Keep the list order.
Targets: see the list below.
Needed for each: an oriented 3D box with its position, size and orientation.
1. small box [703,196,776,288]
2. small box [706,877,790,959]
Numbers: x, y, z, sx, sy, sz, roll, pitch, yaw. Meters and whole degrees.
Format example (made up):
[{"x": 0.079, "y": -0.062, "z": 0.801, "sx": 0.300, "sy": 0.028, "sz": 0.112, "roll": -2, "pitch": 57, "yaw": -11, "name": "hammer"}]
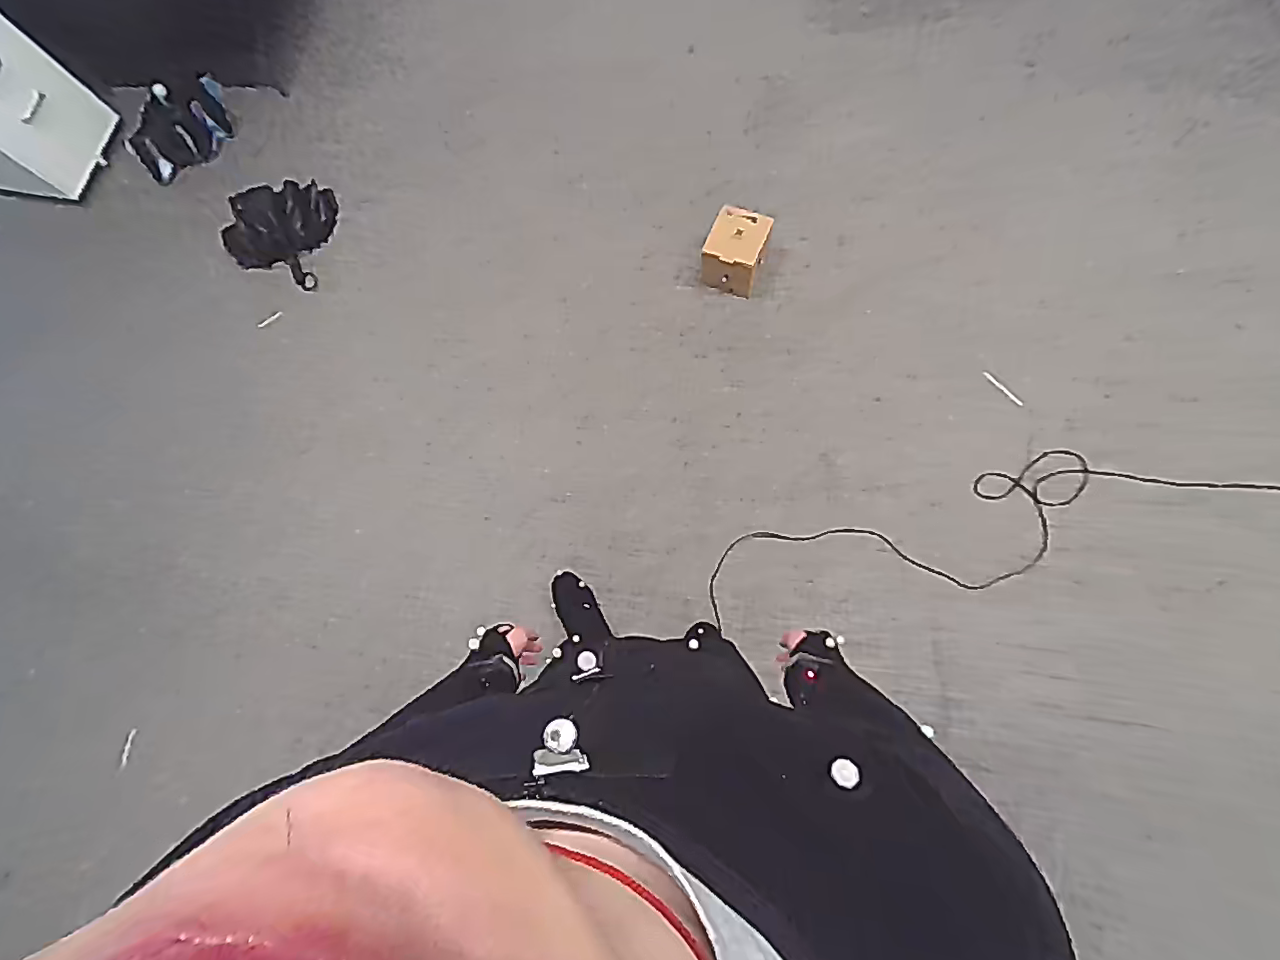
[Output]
[{"x": 0.306, "y": -0.725, "z": 1.665, "sx": 0.168, "sy": 0.176, "sz": 0.179, "roll": 22, "pitch": 82, "yaw": 12, "name": "small box"}, {"x": 0.248, "y": 1.085, "z": 1.274, "sx": 0.168, "sy": 0.176, "sz": 0.179, "roll": 9, "pitch": 80, "yaw": 10, "name": "small box"}]
